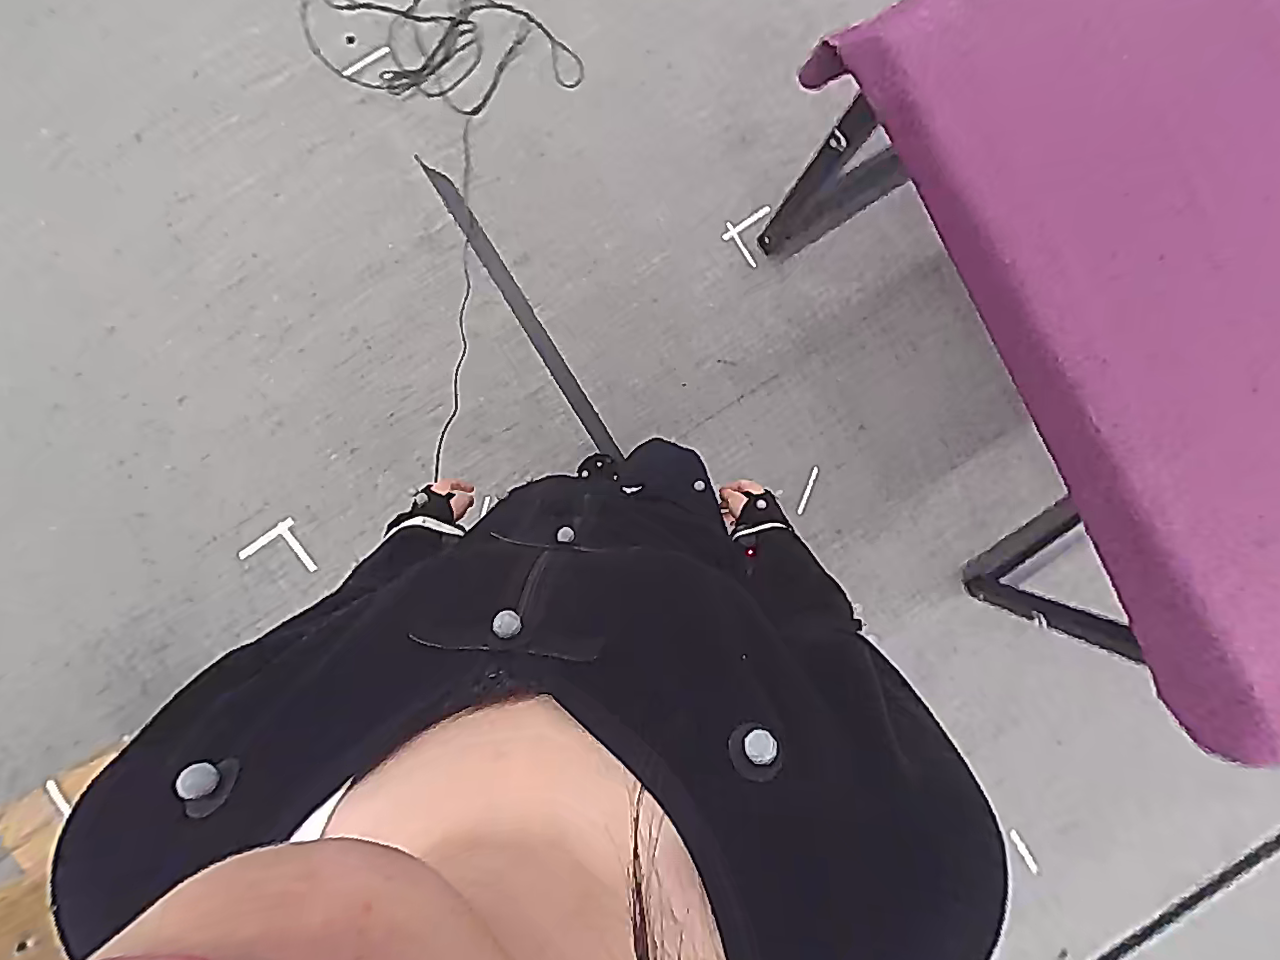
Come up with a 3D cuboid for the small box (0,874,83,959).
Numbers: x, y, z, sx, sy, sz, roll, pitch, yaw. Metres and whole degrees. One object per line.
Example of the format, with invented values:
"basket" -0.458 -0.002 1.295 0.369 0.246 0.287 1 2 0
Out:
"small box" -1.144 0.844 0.940 0.179 0.176 0.168 -28 94 -1
